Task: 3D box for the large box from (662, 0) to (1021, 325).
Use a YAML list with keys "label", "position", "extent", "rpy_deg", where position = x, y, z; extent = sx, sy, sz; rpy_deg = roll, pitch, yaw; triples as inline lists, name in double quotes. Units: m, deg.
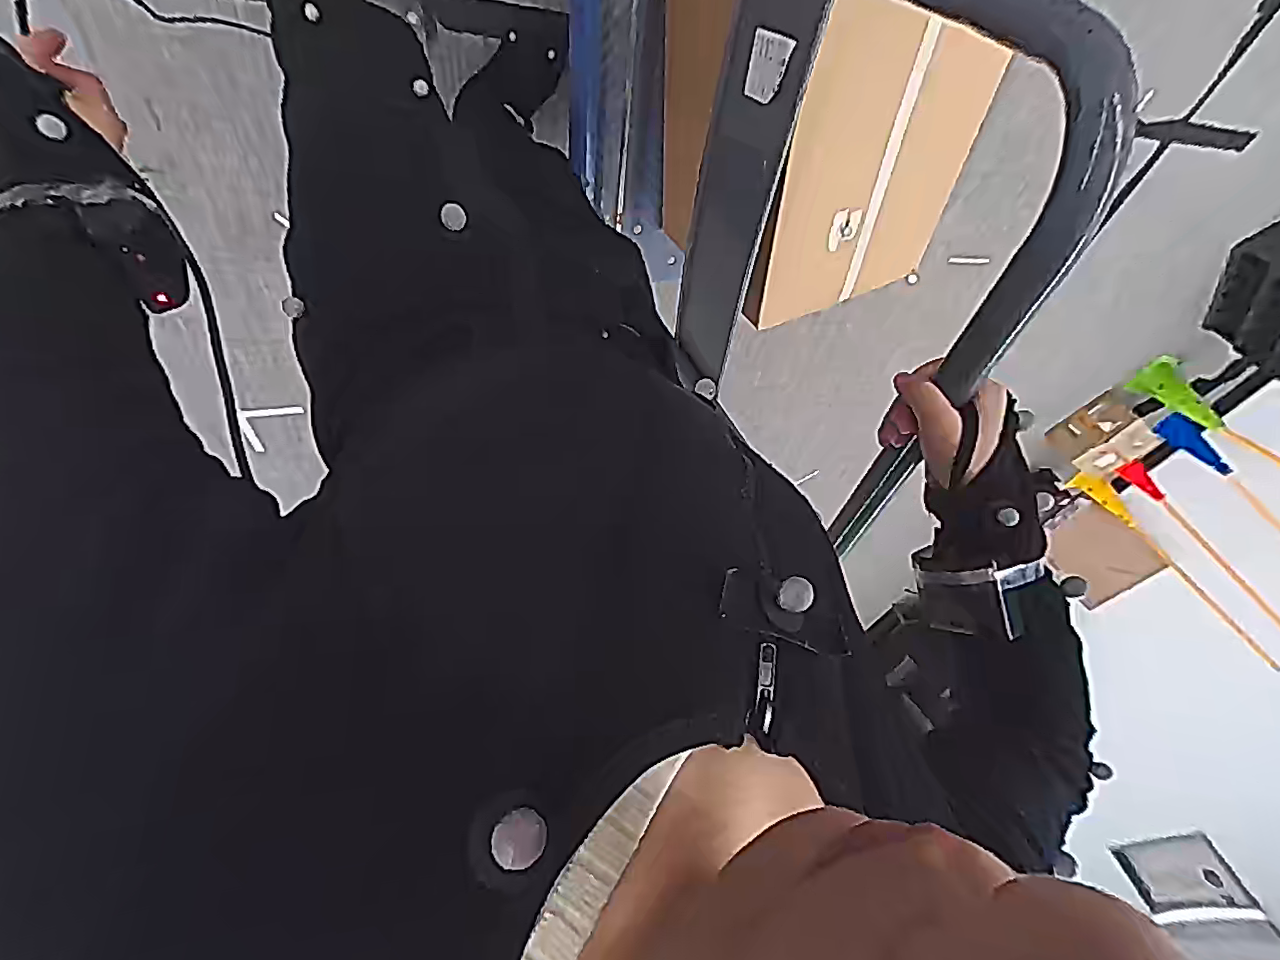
- label: "large box"
  position: [0.234, -0.513, 0.772]
  extent: [0.320, 0.320, 0.408]
  rpy_deg: [-22, 148, -14]
